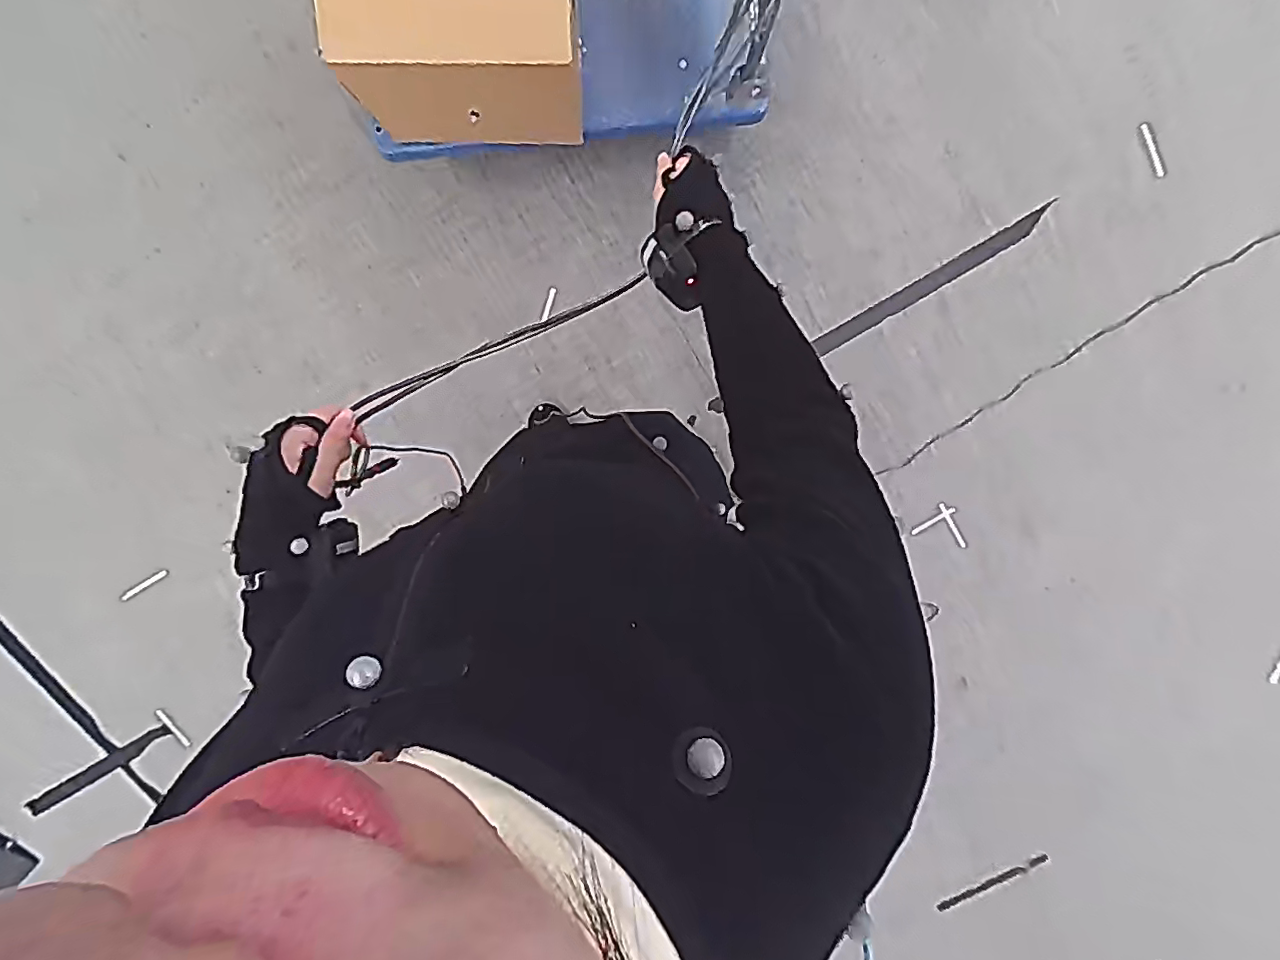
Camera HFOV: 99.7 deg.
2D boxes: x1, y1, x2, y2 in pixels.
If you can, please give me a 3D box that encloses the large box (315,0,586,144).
[{"bbox_3d":[-0.315,-0.844,0.988,0.408,0.320,0.320,-1,100,-1],"label":"large box"}]
